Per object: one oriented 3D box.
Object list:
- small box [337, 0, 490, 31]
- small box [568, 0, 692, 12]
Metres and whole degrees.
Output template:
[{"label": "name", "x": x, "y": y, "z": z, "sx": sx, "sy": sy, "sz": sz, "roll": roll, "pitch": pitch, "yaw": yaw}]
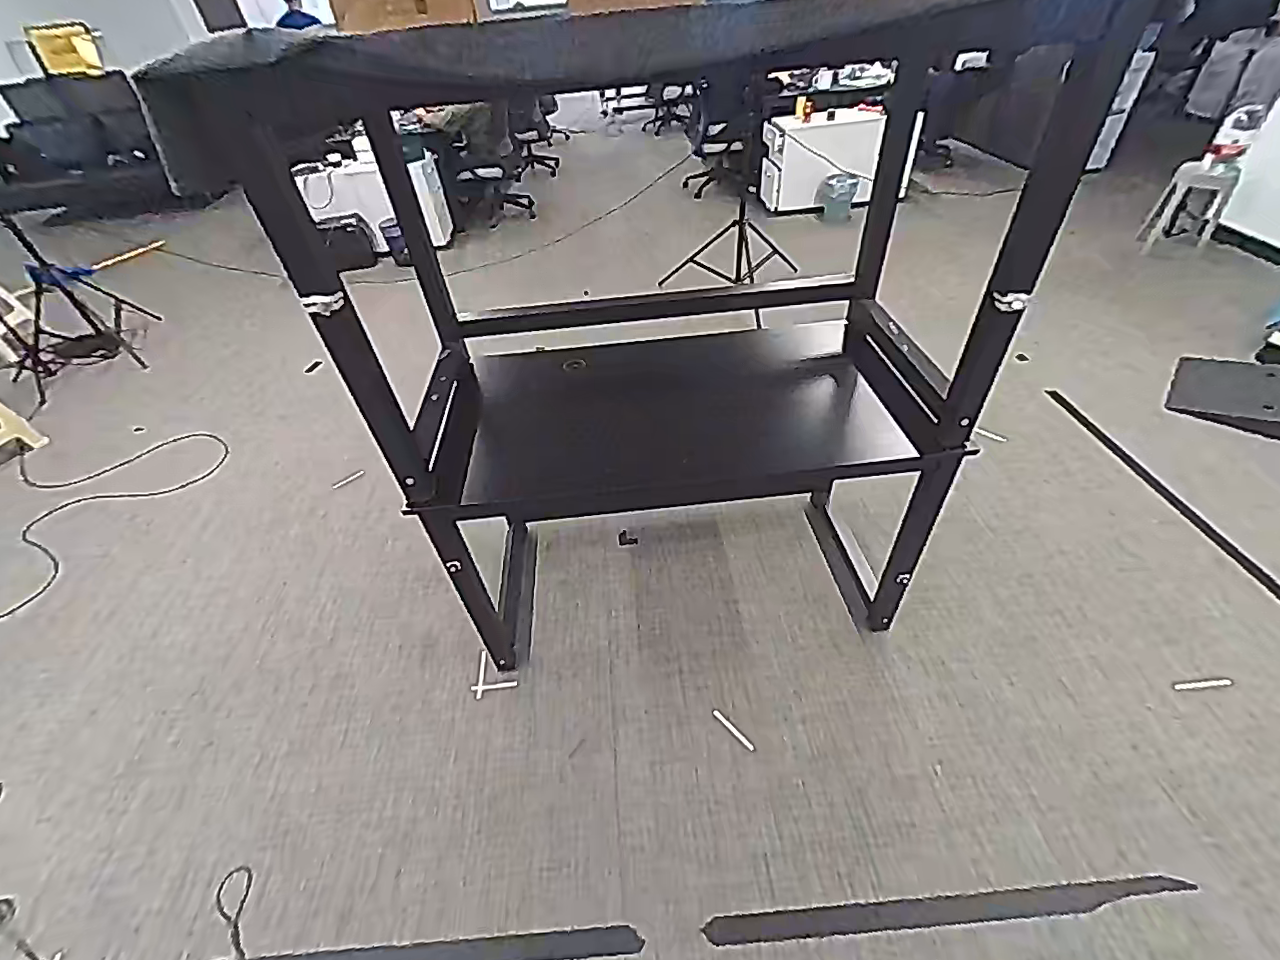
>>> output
[{"label": "small box", "x": -0.286, "y": -0.656, "z": 0.654, "sx": 0.168, "sy": 0.176, "sz": 0.179, "roll": -6, "pitch": 42, "yaw": -2}, {"label": "small box", "x": -0.015, "y": -0.686, "z": 0.657, "sx": 0.168, "sy": 0.176, "sz": 0.179, "roll": -5, "pitch": 41, "yaw": 1}]
